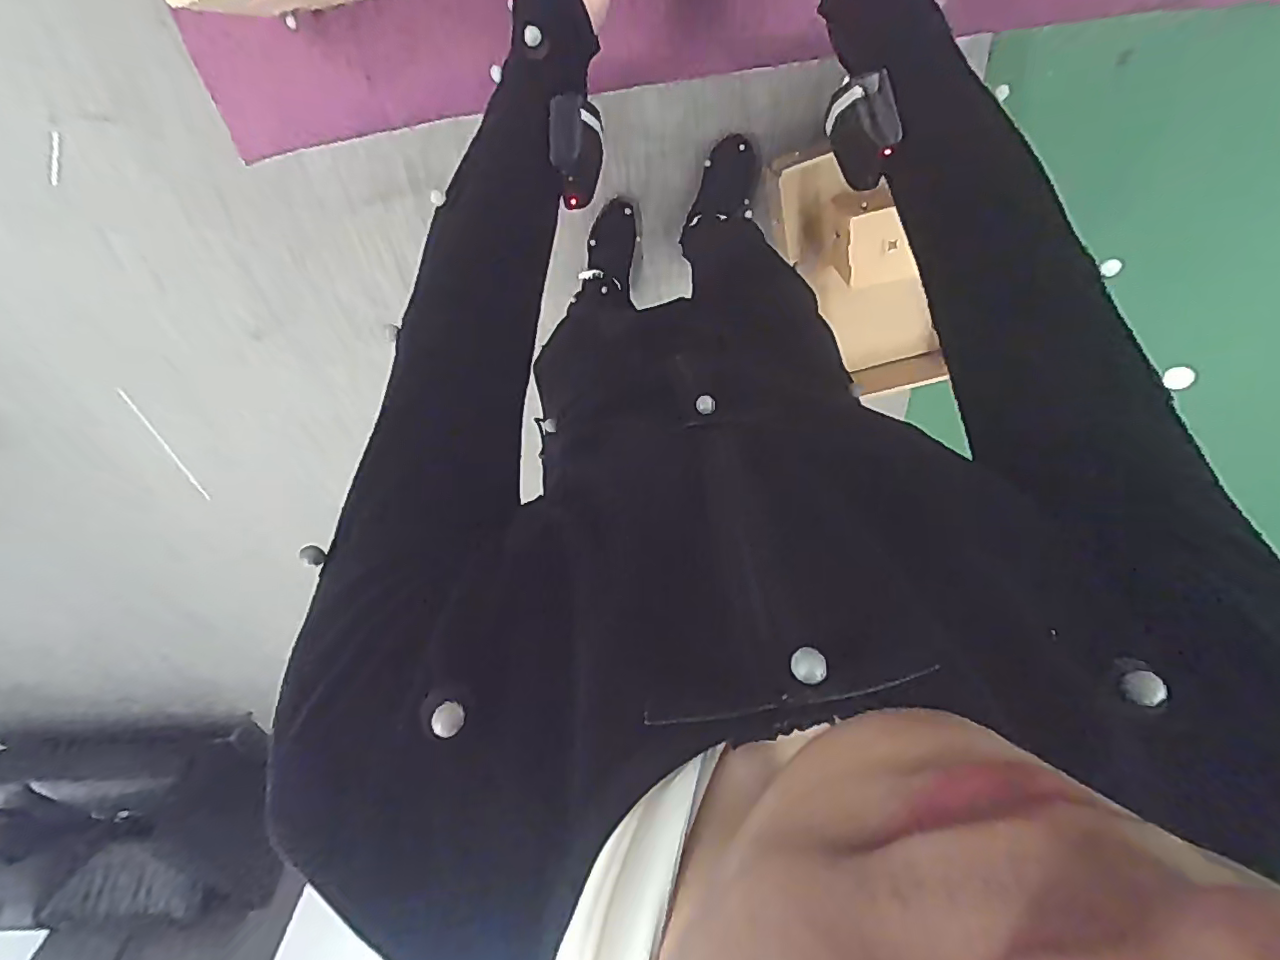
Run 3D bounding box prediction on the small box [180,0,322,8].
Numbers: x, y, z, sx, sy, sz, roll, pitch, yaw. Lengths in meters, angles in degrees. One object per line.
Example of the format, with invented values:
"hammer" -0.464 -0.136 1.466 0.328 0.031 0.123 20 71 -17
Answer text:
"small box" -0.332 -0.537 0.467 0.168 0.176 0.179 -6 126 7
